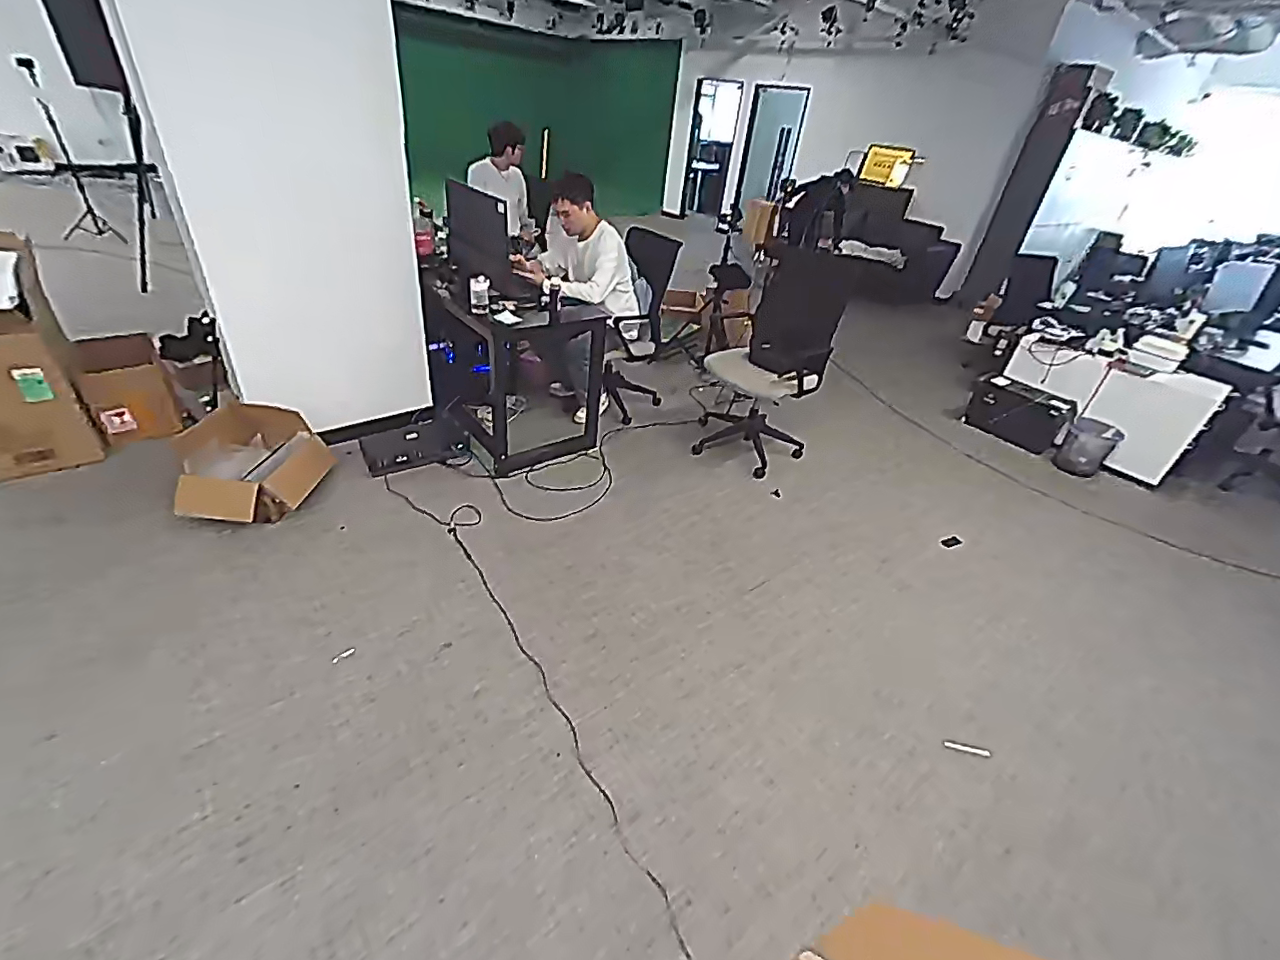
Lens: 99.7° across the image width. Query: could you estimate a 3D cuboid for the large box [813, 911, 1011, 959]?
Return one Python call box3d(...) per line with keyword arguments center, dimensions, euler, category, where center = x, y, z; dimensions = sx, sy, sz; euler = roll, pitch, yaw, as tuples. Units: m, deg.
box3d(center=(0.369, 0.783, 0.605), dimensions=(0.320, 0.408, 0.320), euler=(-17, 71, -24), category="large box")
